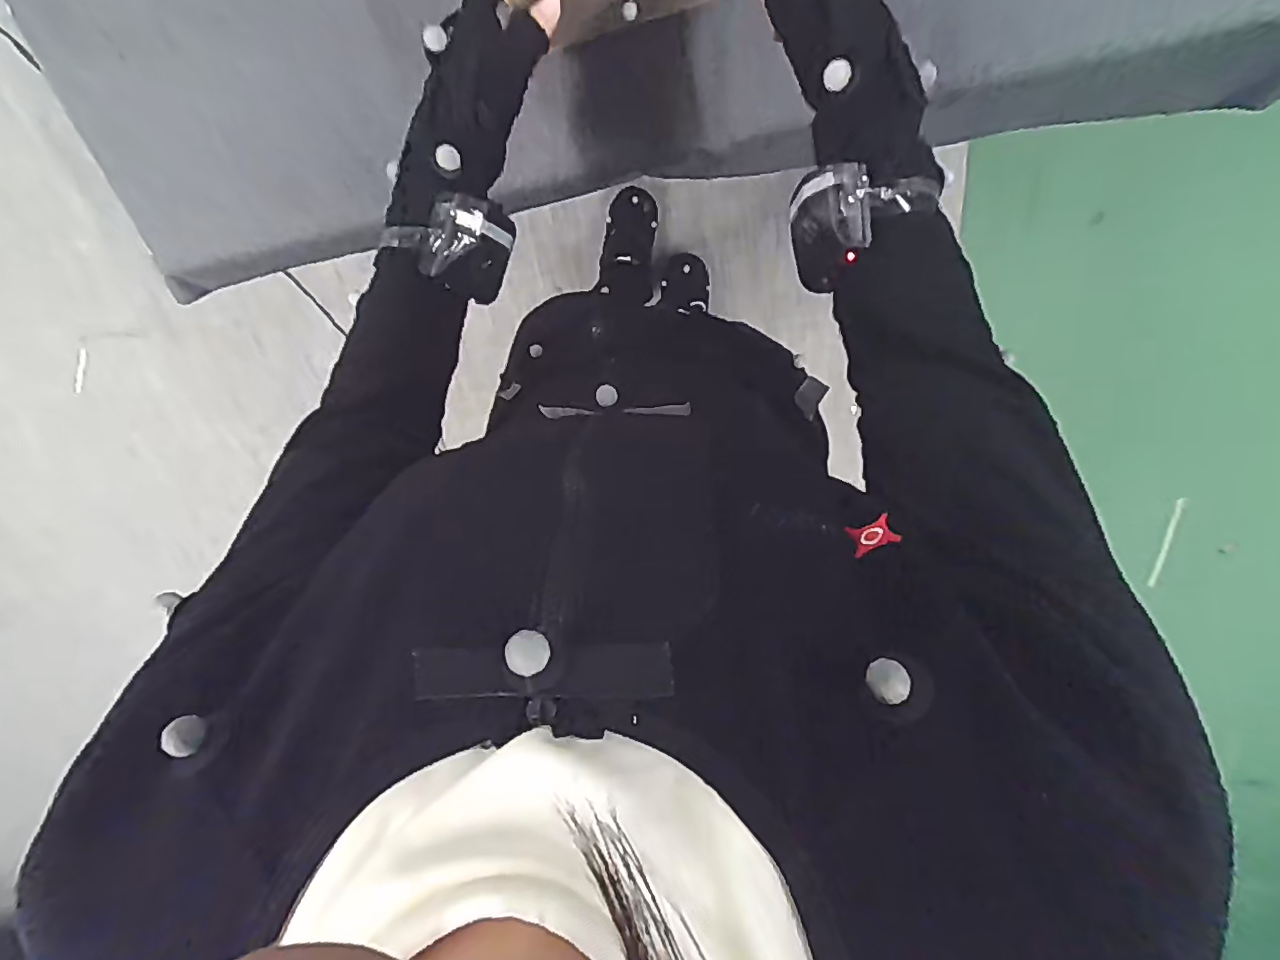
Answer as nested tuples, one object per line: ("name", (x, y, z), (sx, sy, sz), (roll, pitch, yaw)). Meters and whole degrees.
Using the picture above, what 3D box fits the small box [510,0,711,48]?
("small box", (-0.019, -0.444, 0.383), (0.179, 0.176, 0.168), (-11, 117, 9))

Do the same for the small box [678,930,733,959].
("small box", (0.224, 1.648, 1.817), (0.168, 0.176, 0.179), (-13, 116, 9))
